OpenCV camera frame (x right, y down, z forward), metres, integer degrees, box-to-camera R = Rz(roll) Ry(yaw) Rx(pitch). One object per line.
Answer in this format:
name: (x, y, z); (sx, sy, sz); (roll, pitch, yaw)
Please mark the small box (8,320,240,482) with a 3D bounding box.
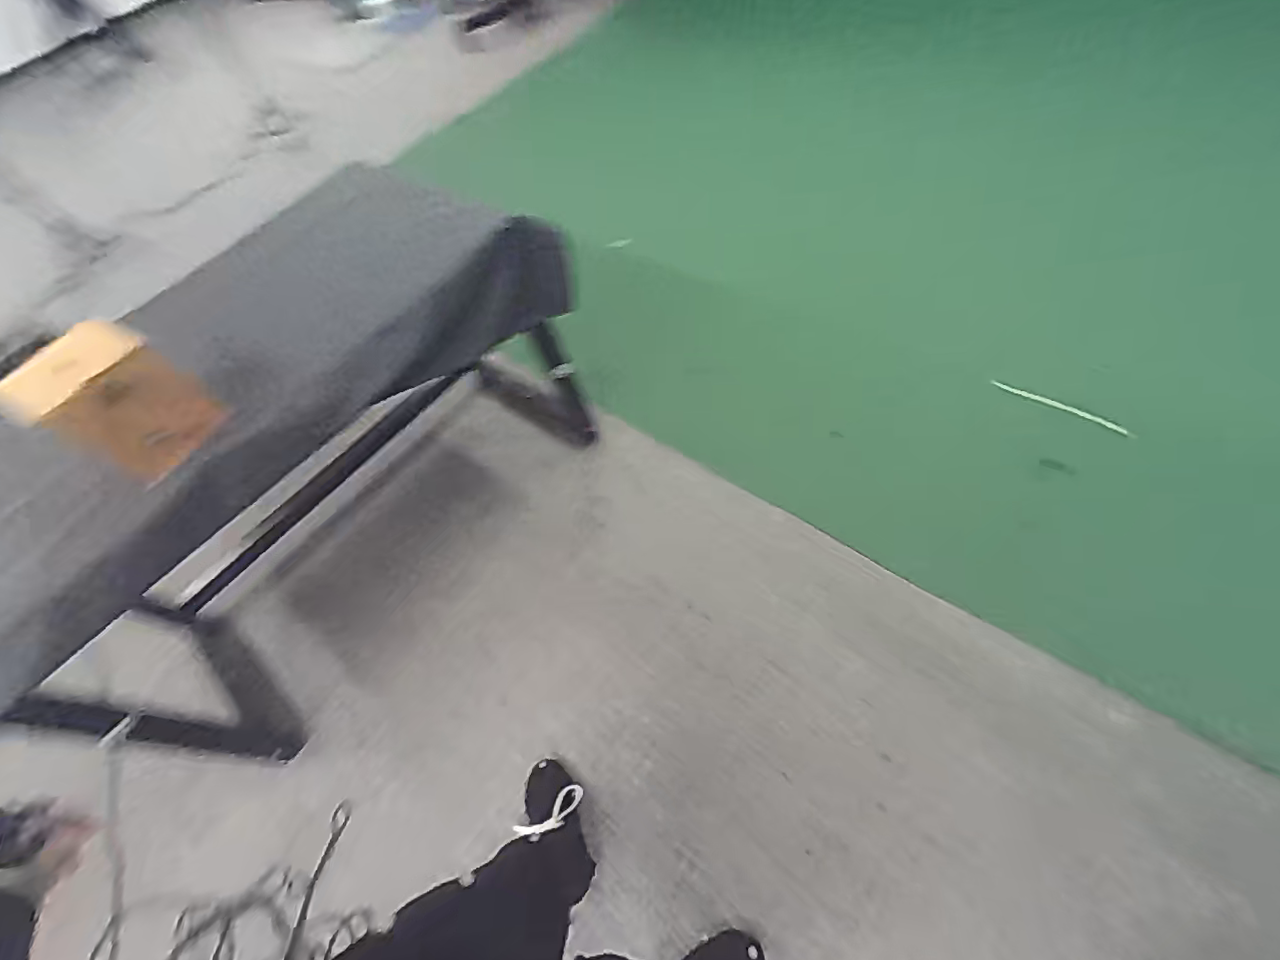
small box: (-0.796, -0.121, 0.851); (0.179, 0.176, 0.168); (20, 63, 24)
